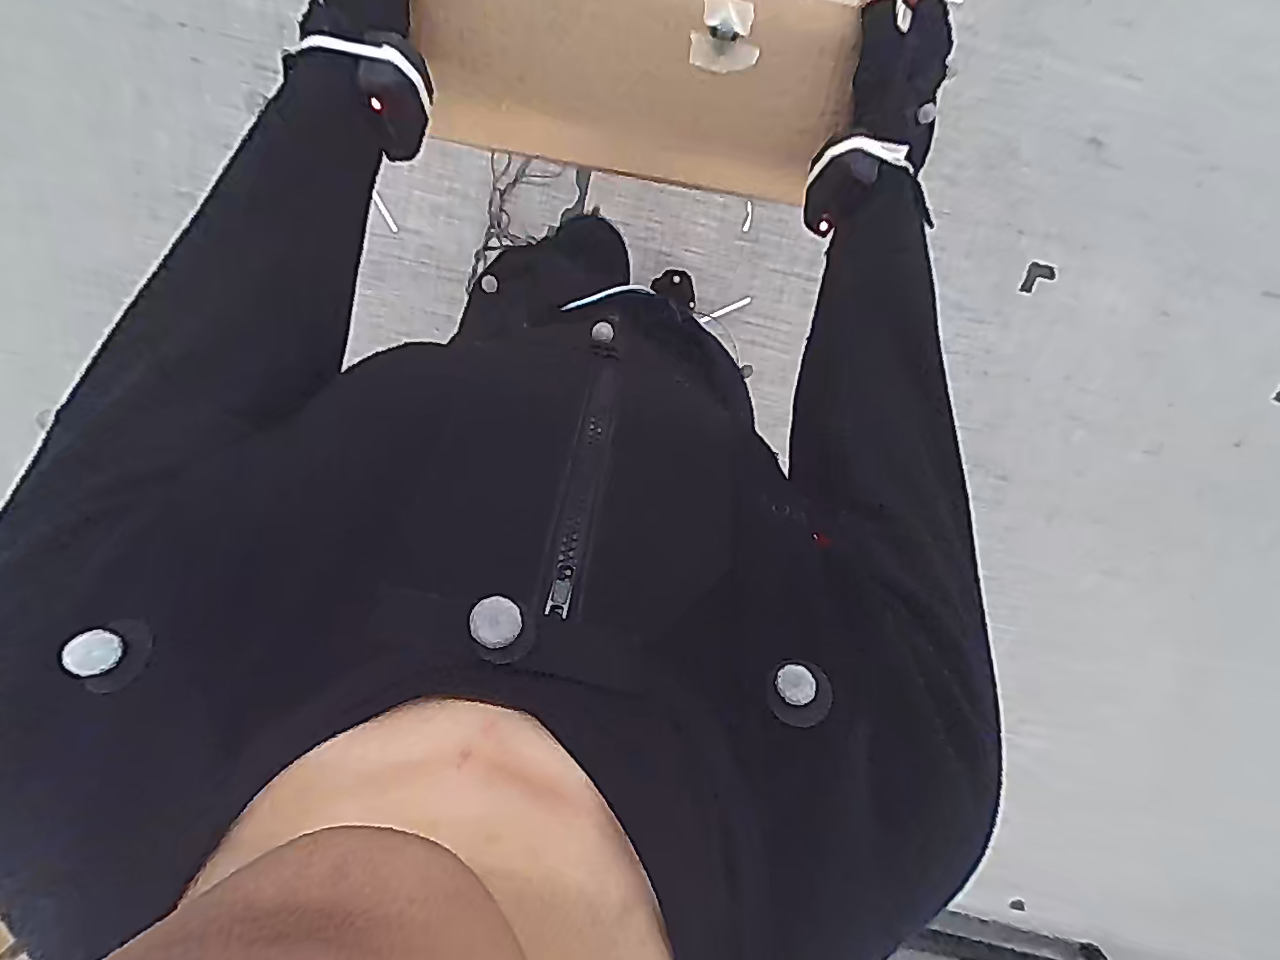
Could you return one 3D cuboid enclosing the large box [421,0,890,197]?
[{"bbox_3d":[0.016,-0.505,0.575,0.408,0.320,0.320,8,120,-4],"label":"large box"}]
